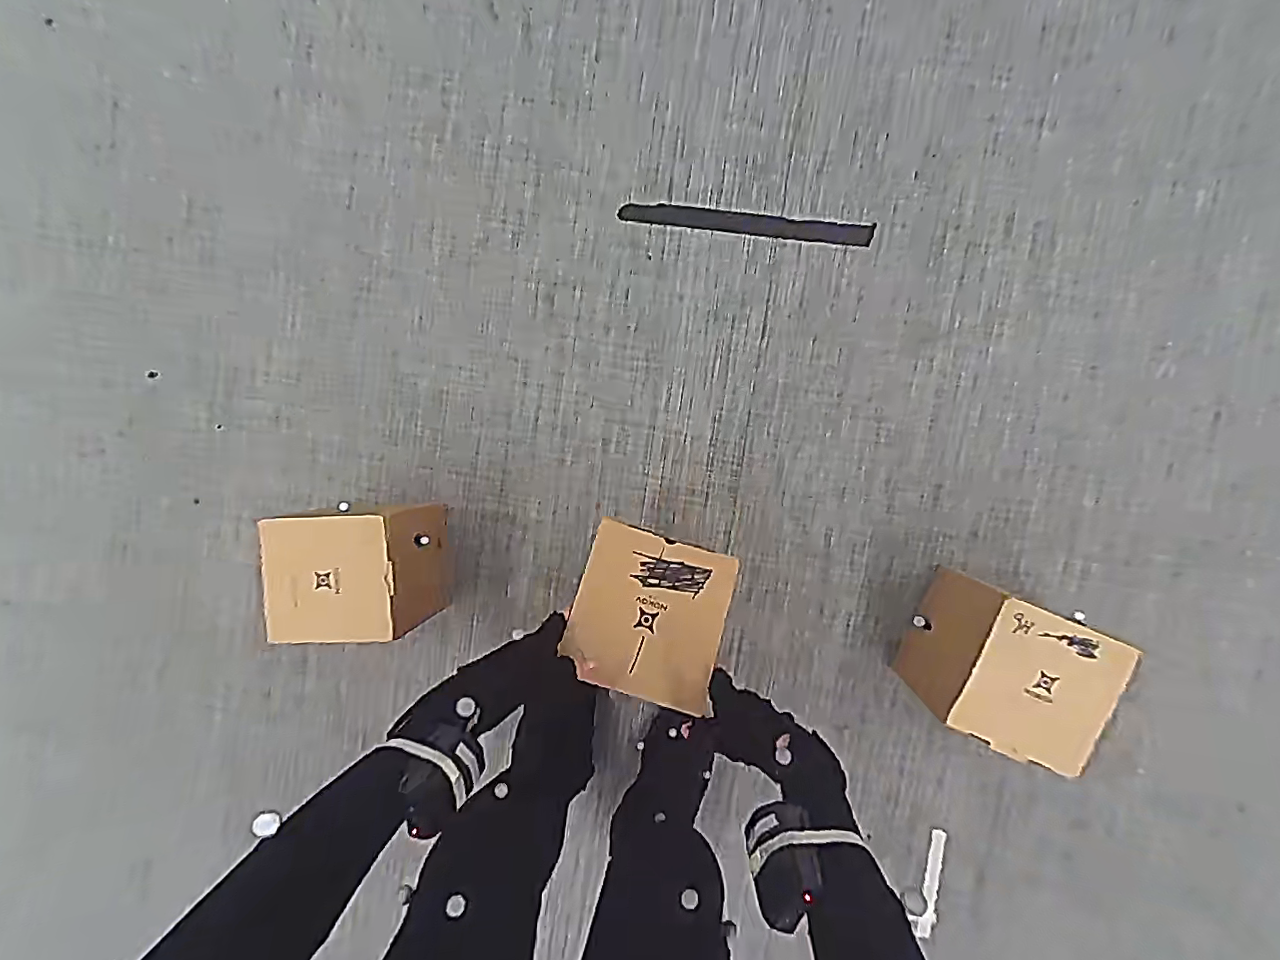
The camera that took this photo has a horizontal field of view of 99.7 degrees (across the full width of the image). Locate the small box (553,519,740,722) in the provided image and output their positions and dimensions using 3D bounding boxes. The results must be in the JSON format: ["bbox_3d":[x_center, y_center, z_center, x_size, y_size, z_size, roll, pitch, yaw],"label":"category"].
[{"bbox_3d":[0.004,0.170,0.653,0.168,0.176,0.179,18,71,1],"label":"small box"}]

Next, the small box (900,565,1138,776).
[{"bbox_3d":[0.473,0.235,0.712,0.168,0.176,0.179,23,95,2],"label":"small box"}]

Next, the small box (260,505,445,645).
[{"bbox_3d":[-0.394,0.126,0.772,0.179,0.176,0.168,-3,92,5],"label":"small box"}]
